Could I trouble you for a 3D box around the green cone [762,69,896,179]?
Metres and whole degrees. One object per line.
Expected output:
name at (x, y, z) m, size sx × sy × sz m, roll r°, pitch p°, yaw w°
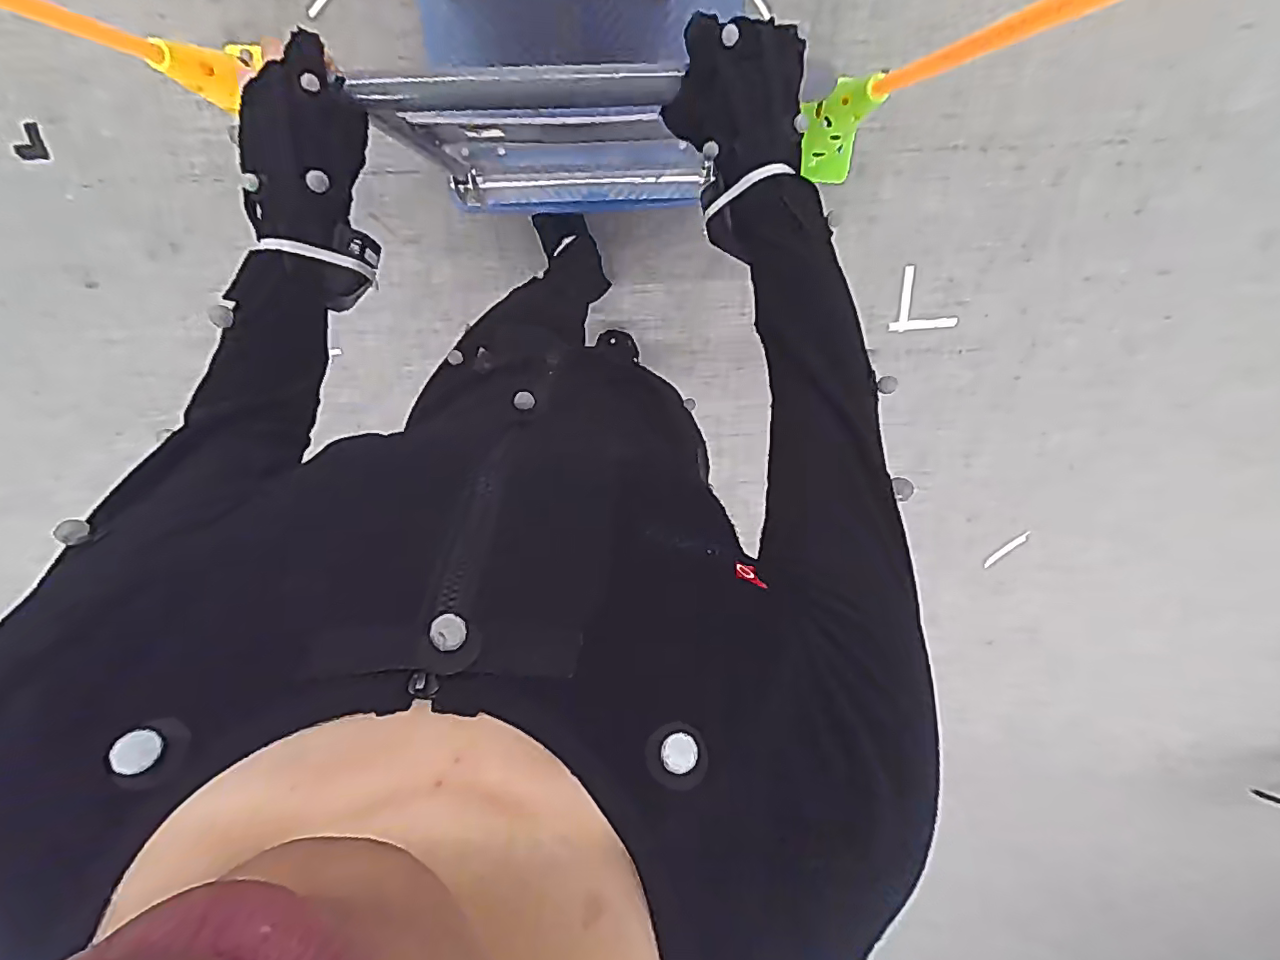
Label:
green cone at (0.383, -0.713, 1.040) m, size 0.202 × 0.368 × 0.200 m, roll 1°, pitch 114°, yaw -3°
